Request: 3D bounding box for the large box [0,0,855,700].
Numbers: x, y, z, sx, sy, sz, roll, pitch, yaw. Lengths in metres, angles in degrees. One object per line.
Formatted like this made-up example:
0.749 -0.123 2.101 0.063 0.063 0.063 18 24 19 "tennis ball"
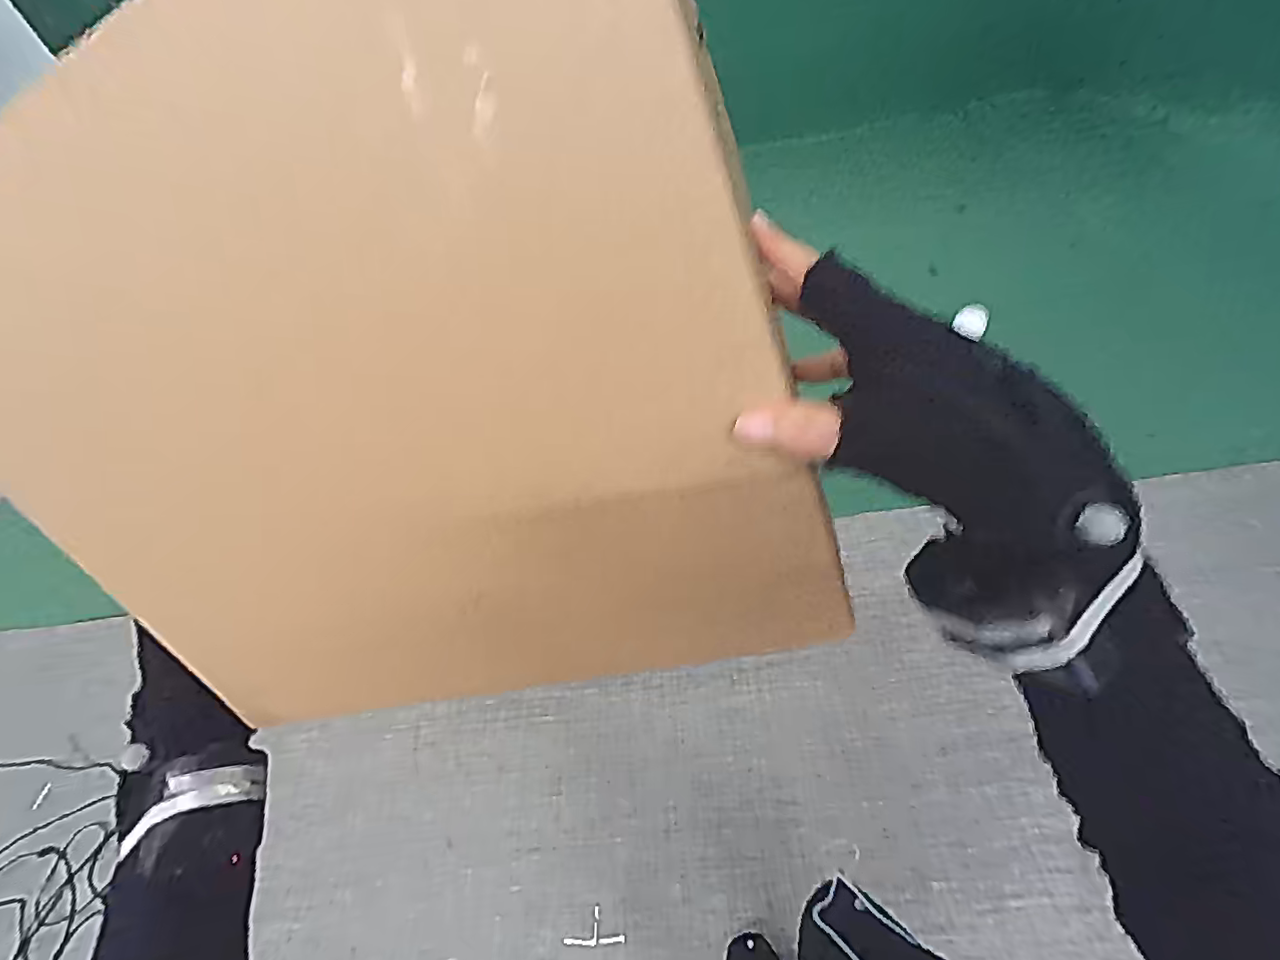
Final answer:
-0.106 -0.088 0.387 0.408 0.320 0.320 -14 26 18 "large box"
